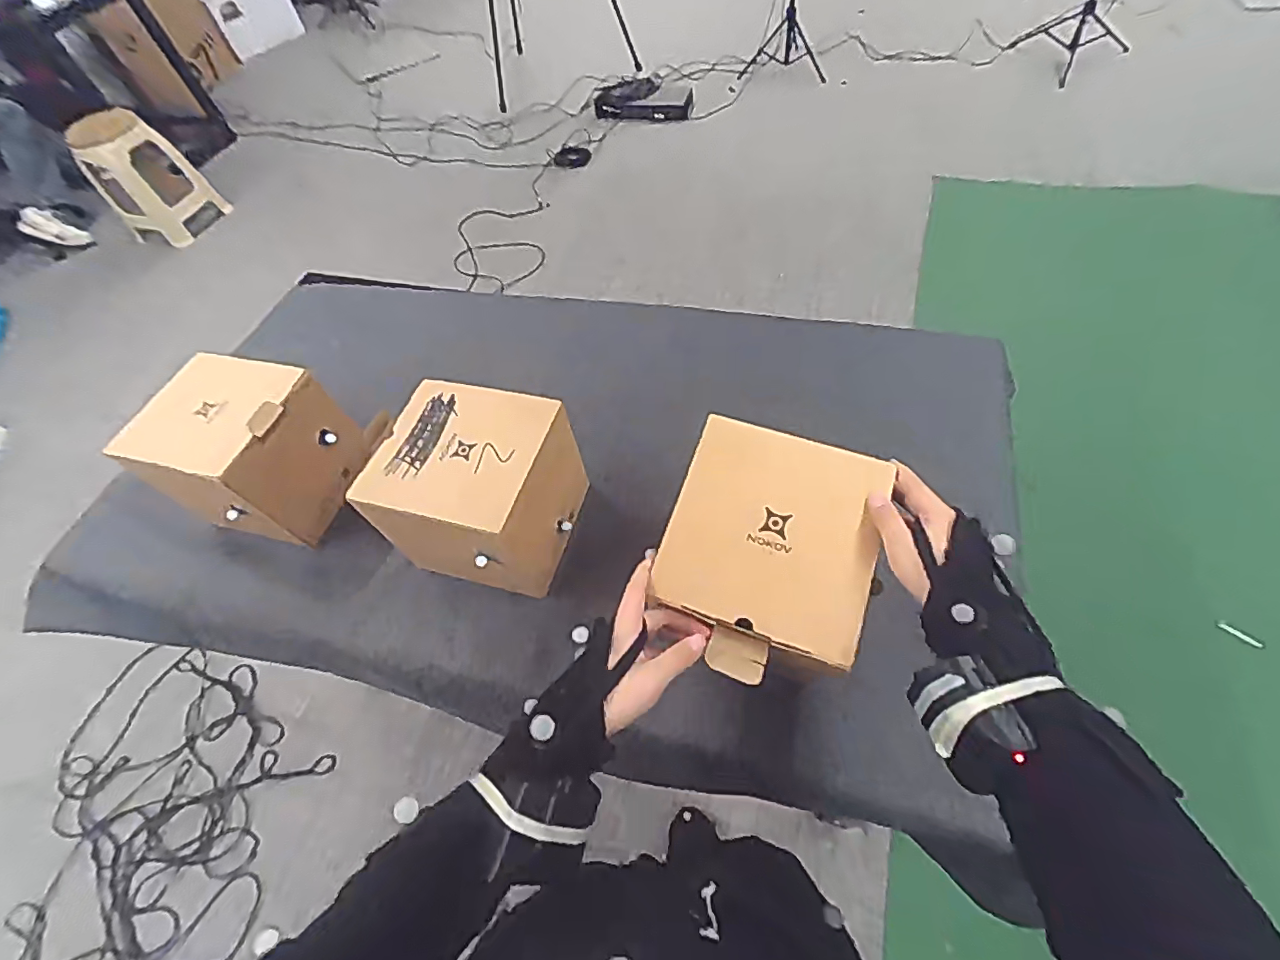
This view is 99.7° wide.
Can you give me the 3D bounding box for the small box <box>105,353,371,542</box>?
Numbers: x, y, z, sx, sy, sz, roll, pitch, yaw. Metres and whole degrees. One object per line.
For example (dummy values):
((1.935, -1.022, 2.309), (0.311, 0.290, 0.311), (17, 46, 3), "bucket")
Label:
((-0.490, -0.036, 0.694), (0.179, 0.176, 0.168), (9, 57, 14), "small box")
